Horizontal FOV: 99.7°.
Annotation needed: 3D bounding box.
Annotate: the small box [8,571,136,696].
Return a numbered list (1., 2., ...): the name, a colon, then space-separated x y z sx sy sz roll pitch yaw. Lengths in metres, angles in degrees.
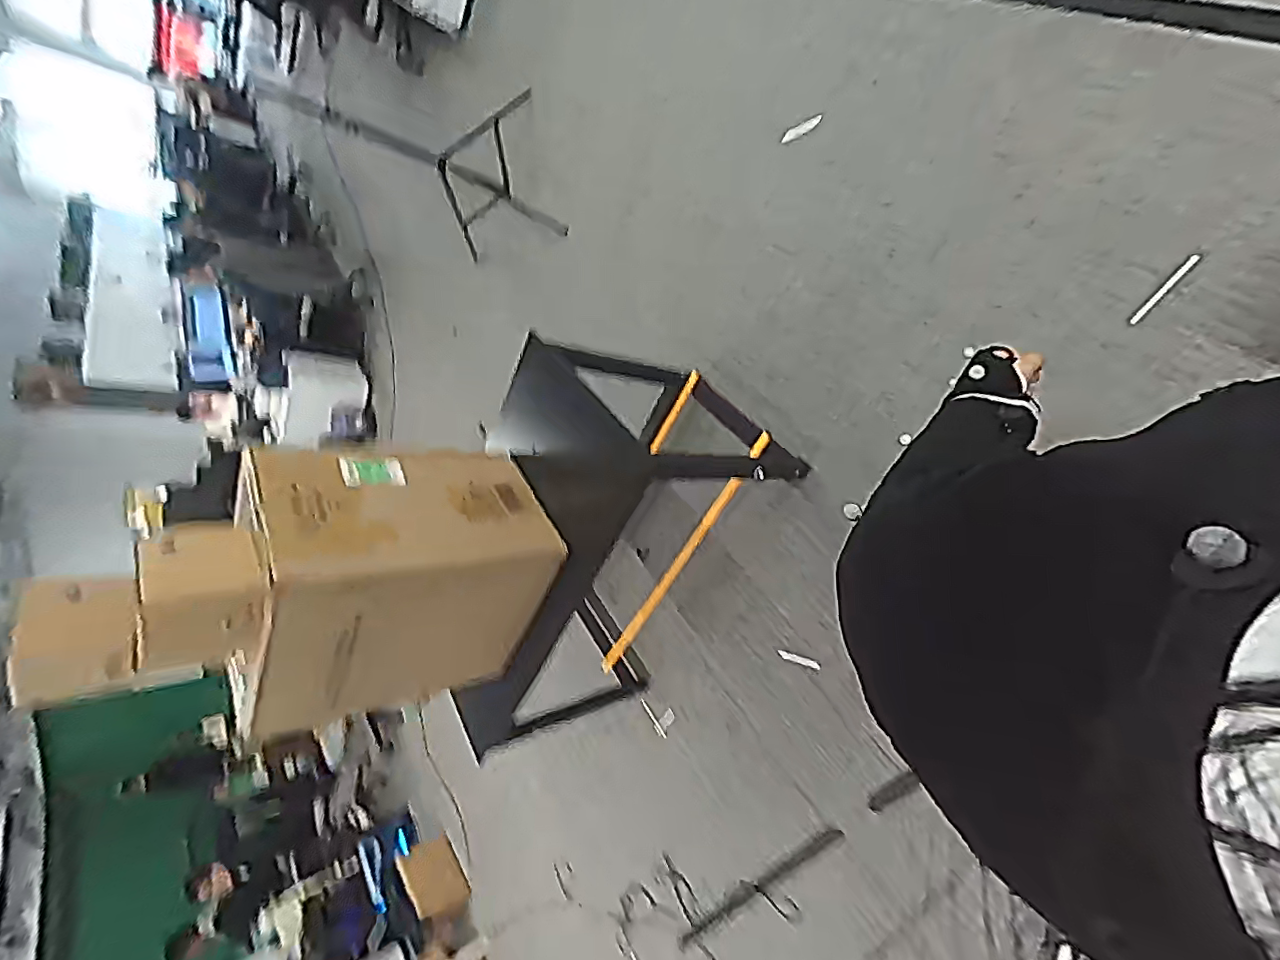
1. small box: -1.128 0.298 1.088 0.179 0.176 0.168 53 125 32

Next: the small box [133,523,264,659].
1. small box: -0.807 0.191 0.987 0.179 0.176 0.168 47 124 34

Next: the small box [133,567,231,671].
1. small box: -1.019 0.291 1.211 0.179 0.176 0.168 51 123 33
